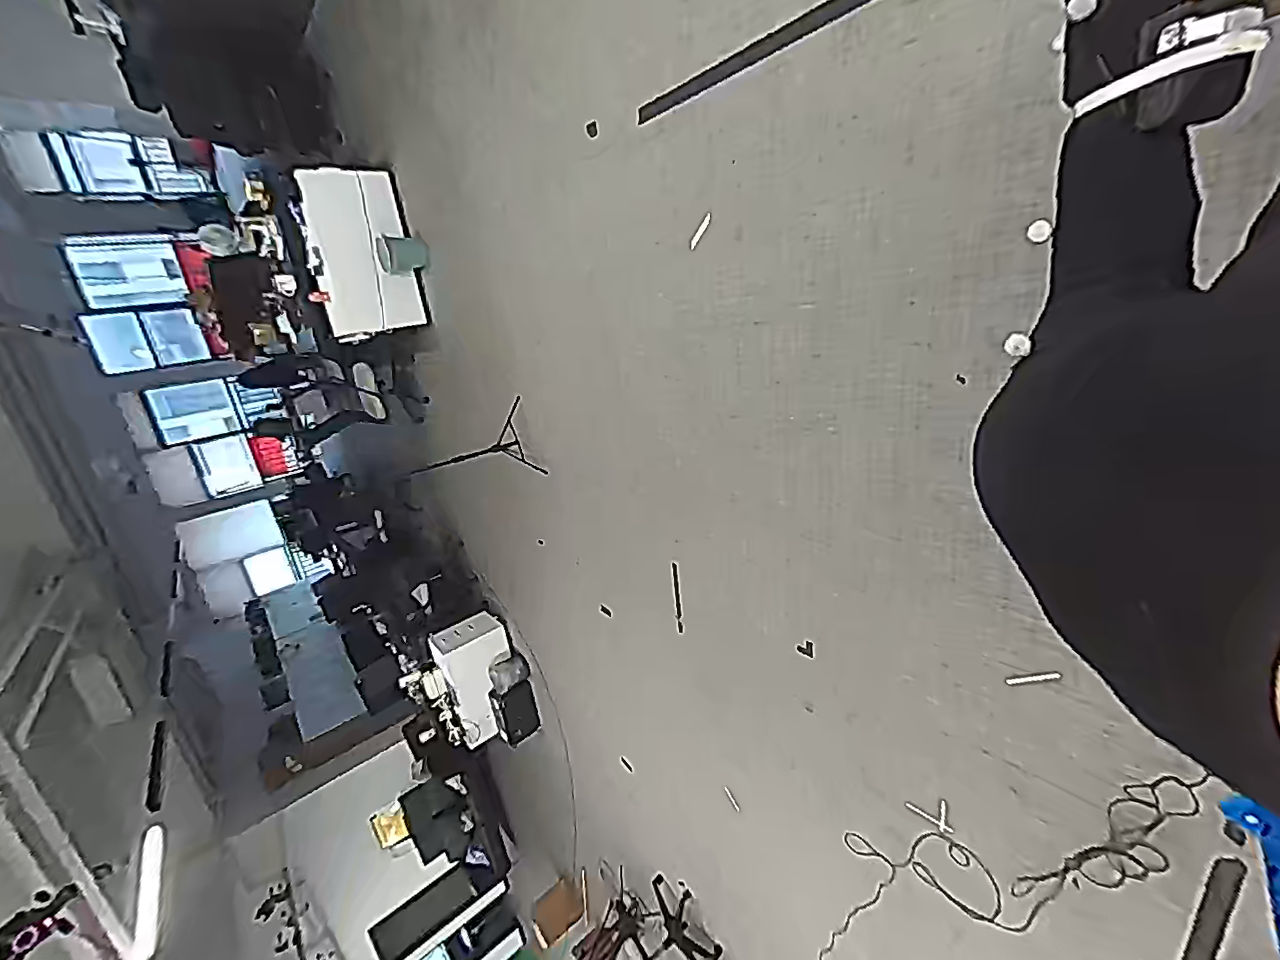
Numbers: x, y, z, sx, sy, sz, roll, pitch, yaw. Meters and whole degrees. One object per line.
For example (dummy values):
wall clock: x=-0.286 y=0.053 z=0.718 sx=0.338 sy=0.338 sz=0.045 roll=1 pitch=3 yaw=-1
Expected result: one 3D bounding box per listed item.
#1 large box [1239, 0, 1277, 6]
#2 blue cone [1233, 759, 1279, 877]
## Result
large box: x=0.529 y=-0.500 z=0.223 sx=0.408 sy=0.320 sz=0.320 roll=8 pitch=122 yaw=53
blue cone: x=1.259 y=0.733 z=1.012 sx=0.193 sy=0.380 sz=0.192 roll=38 pitch=135 yaw=36
